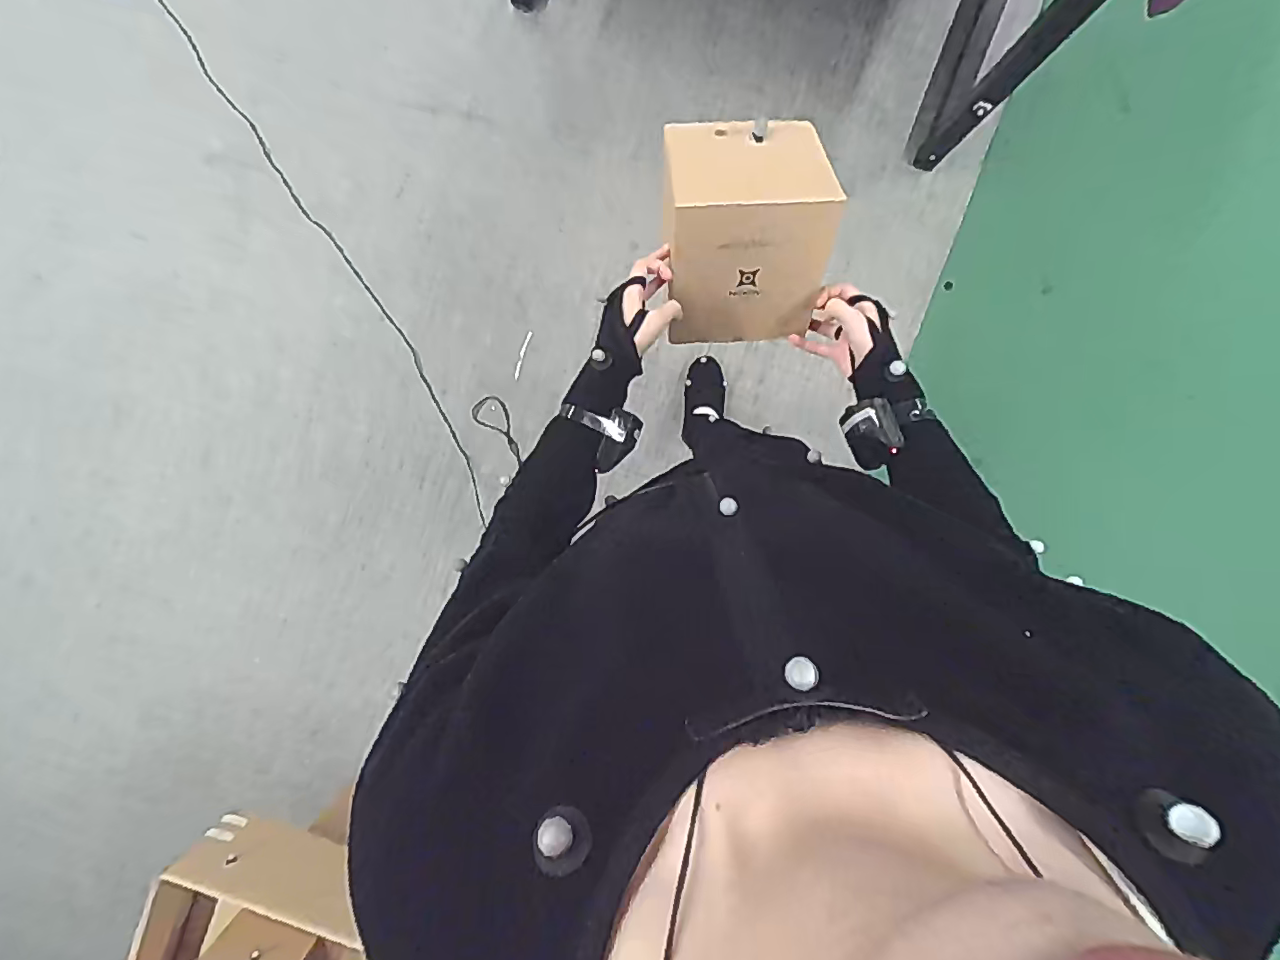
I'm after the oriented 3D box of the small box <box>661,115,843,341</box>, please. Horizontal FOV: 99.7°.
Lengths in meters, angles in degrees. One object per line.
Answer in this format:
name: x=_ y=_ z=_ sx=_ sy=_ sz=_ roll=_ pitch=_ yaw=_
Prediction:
small box: x=0.112 y=-0.284 z=0.622 sx=0.168 sy=0.179 sz=0.176 roll=-2 pitch=57 yaw=1
